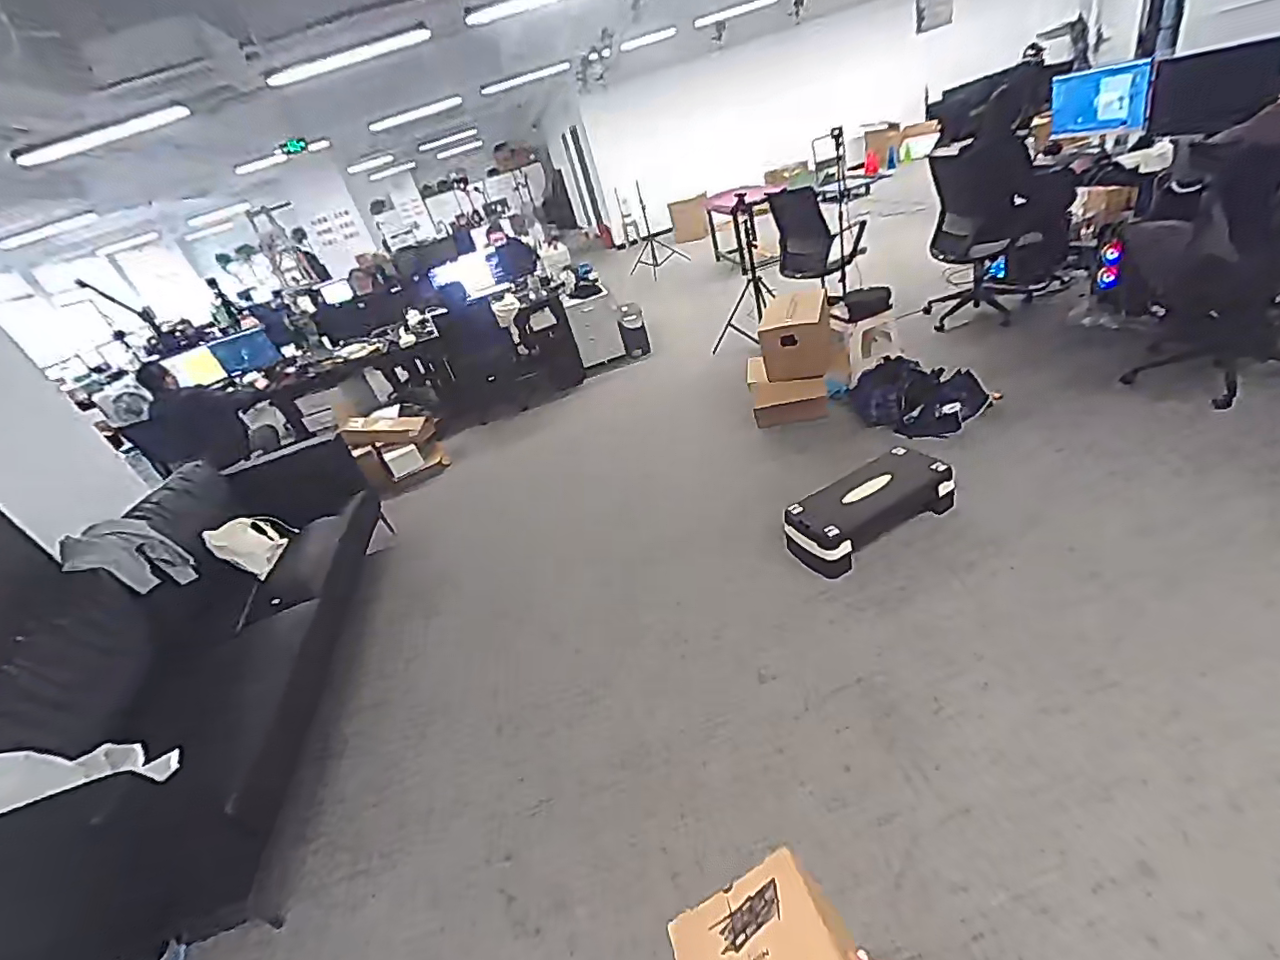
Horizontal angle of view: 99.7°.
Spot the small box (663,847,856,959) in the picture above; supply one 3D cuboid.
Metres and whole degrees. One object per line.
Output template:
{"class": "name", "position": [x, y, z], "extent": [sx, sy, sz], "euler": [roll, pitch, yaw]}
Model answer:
{"class": "small box", "position": [0.151, 0.557, 0.585], "extent": [0.168, 0.176, 0.179], "euler": [-32, 28, 1]}
